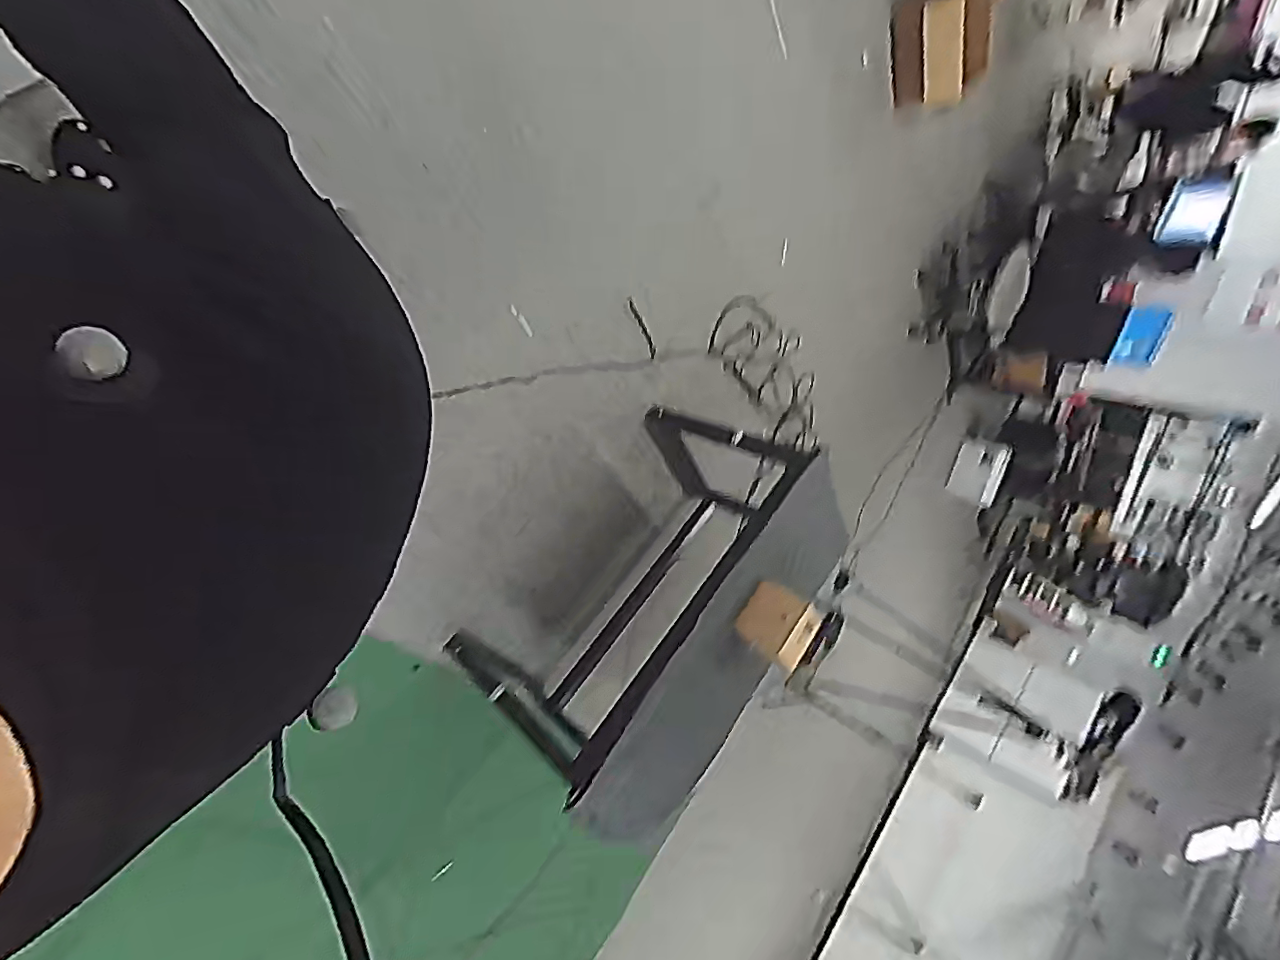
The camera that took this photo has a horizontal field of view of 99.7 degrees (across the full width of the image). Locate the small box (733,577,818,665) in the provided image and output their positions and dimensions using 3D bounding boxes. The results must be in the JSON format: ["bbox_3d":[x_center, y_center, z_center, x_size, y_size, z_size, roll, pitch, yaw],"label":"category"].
[{"bbox_3d":[0.414,0.427,1.655,0.179,0.176,0.168,-52,137,-14],"label":"small box"}]
